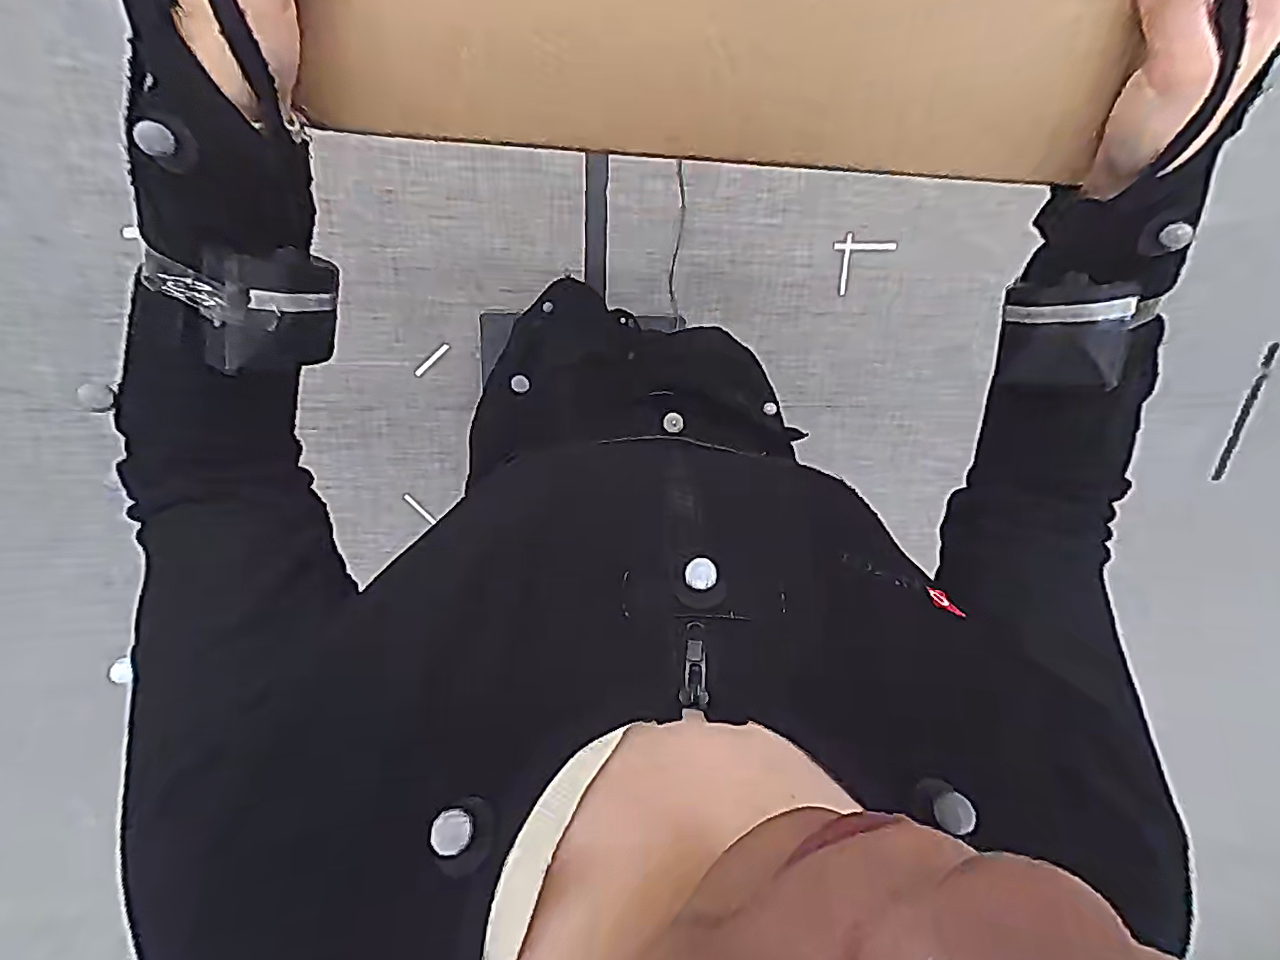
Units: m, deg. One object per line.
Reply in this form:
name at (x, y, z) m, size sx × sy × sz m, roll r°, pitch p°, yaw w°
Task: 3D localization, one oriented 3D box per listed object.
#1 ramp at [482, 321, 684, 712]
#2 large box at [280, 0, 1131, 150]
ramp at (-0.140, 0.114, 1.370) m, size 0.509 × 0.206 × 0.991 m, roll -1°, pitch 109°, yaw -4°
large box at (0.033, -0.391, 0.314) m, size 0.408 × 0.320 × 0.320 m, roll 2°, pitch 126°, yaw -4°
